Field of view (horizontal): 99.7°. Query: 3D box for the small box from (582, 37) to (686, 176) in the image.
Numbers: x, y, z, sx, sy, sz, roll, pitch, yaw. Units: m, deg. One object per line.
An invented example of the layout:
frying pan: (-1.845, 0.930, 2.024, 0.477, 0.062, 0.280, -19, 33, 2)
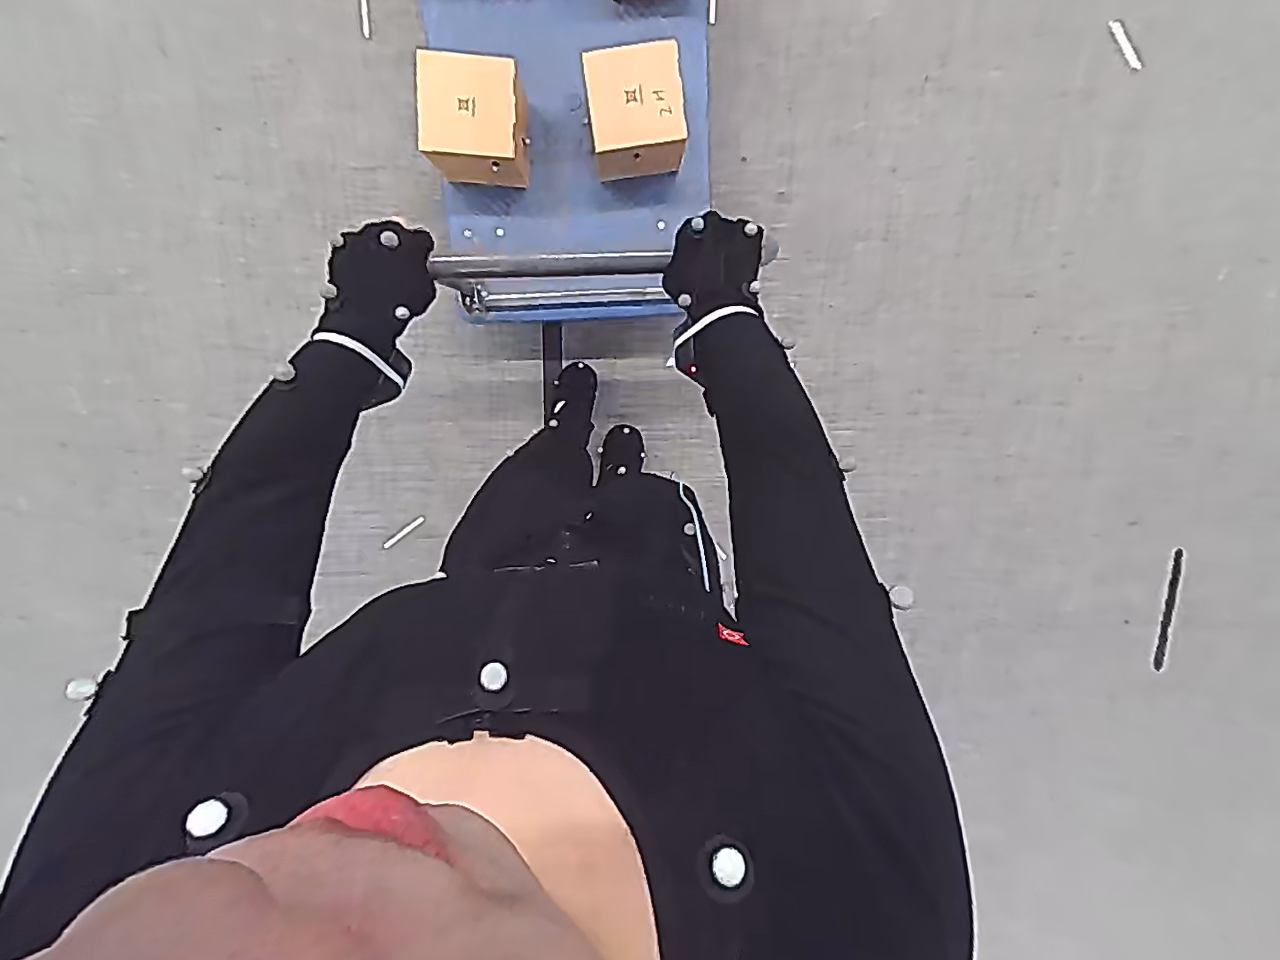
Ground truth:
small box: (-0.010, -0.721, 1.066, 0.179, 0.176, 0.168, -8, 102, 0)

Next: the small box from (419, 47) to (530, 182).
small box: (-0.317, -0.702, 1.059, 0.179, 0.176, 0.168, 2, 102, -4)
